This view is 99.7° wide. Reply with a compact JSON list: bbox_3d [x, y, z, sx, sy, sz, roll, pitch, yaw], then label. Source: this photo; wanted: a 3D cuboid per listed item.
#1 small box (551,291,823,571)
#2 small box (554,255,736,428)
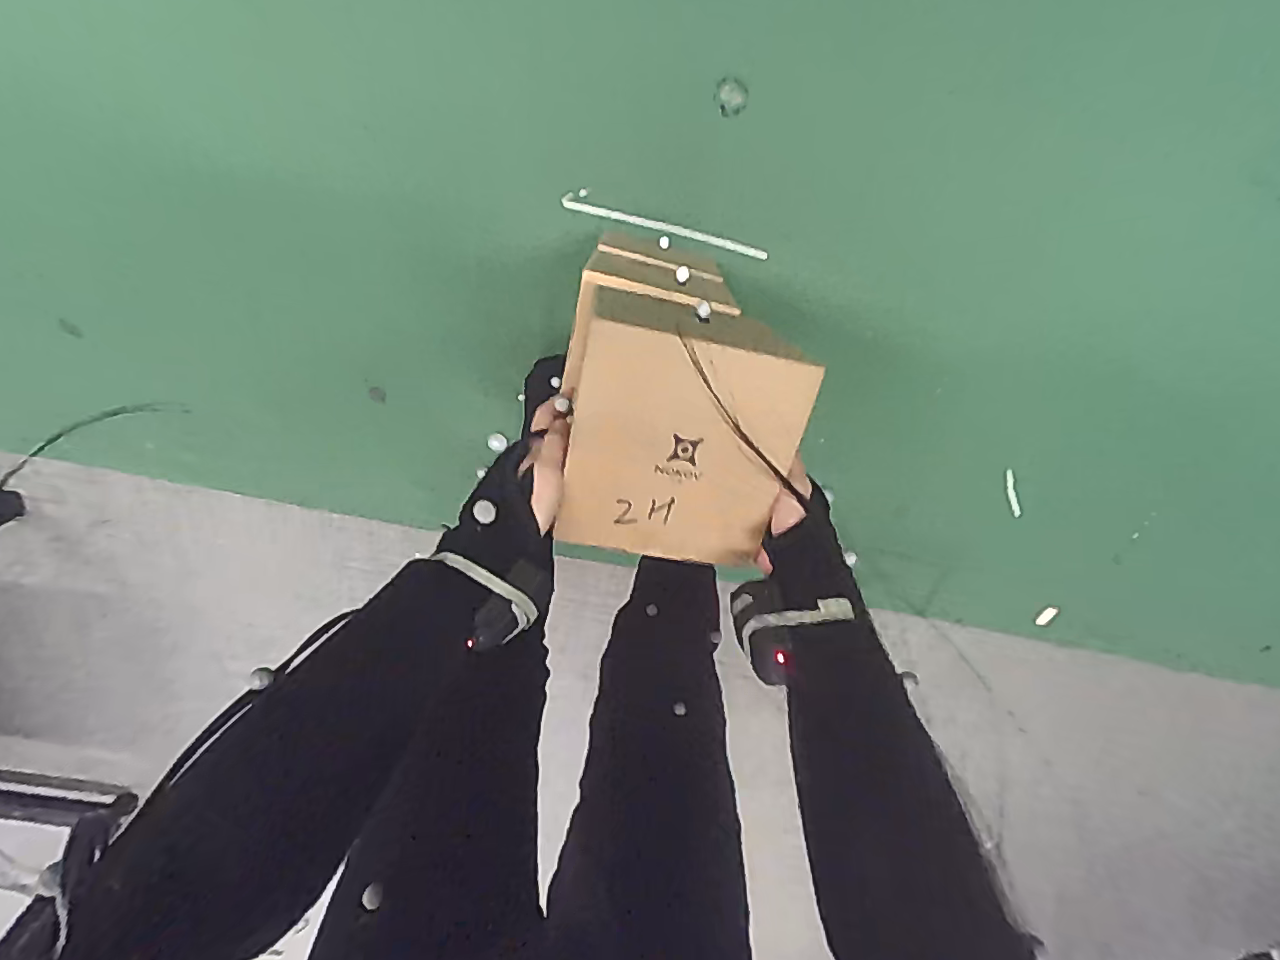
[{"bbox_3d":[0.023,-0.051,0.463,0.168,0.176,0.179,10,115,-9],"label":"small box"},{"bbox_3d":[0.000,-0.158,0.654,0.168,0.176,0.179,12,119,-6],"label":"small box"}]
